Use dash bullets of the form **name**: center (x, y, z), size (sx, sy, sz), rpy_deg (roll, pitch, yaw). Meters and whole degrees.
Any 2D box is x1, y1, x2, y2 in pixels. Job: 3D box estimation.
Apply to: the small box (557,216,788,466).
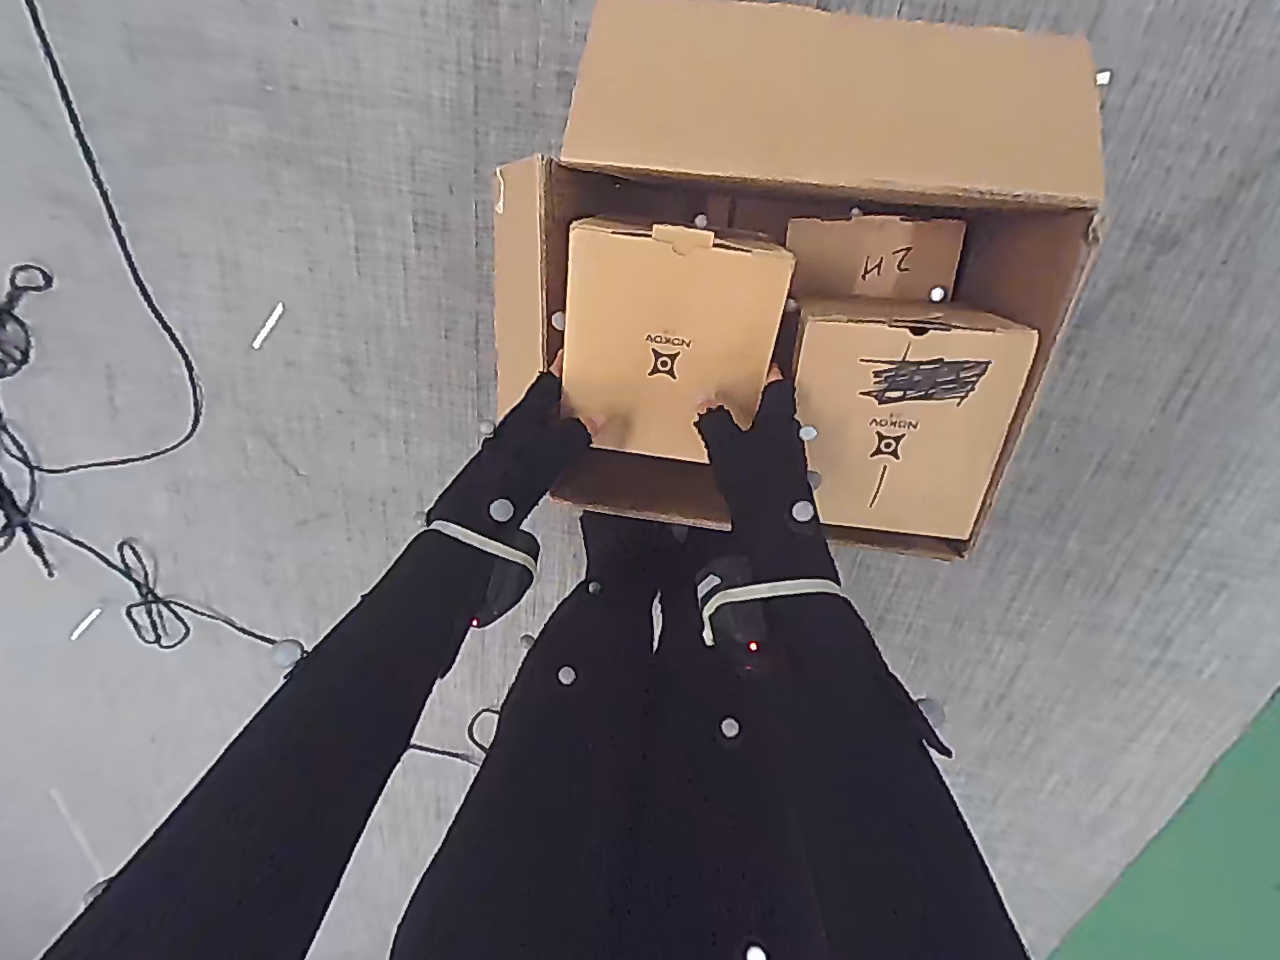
- **small box**: center (0.025, -0.136, 0.498), size (0.168, 0.176, 0.179), rpy_deg (8, 118, 1)
